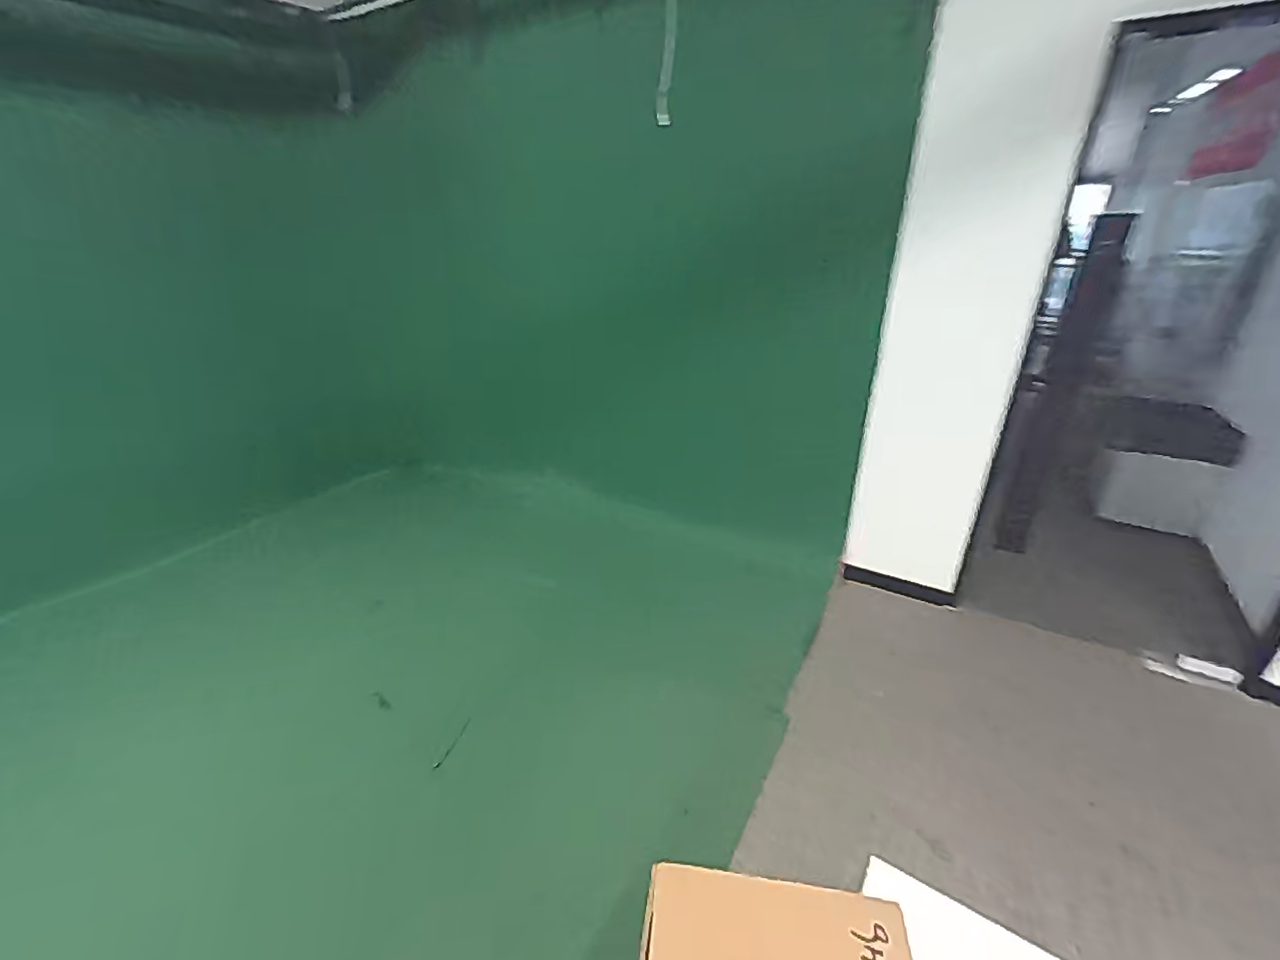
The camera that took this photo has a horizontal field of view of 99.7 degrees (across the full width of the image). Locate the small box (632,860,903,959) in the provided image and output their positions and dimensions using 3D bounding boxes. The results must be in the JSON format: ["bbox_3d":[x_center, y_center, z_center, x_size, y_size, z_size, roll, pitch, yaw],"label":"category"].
[{"bbox_3d":[0.077,0.394,0.364,0.179,0.176,0.168,6,35,4],"label":"small box"}]
